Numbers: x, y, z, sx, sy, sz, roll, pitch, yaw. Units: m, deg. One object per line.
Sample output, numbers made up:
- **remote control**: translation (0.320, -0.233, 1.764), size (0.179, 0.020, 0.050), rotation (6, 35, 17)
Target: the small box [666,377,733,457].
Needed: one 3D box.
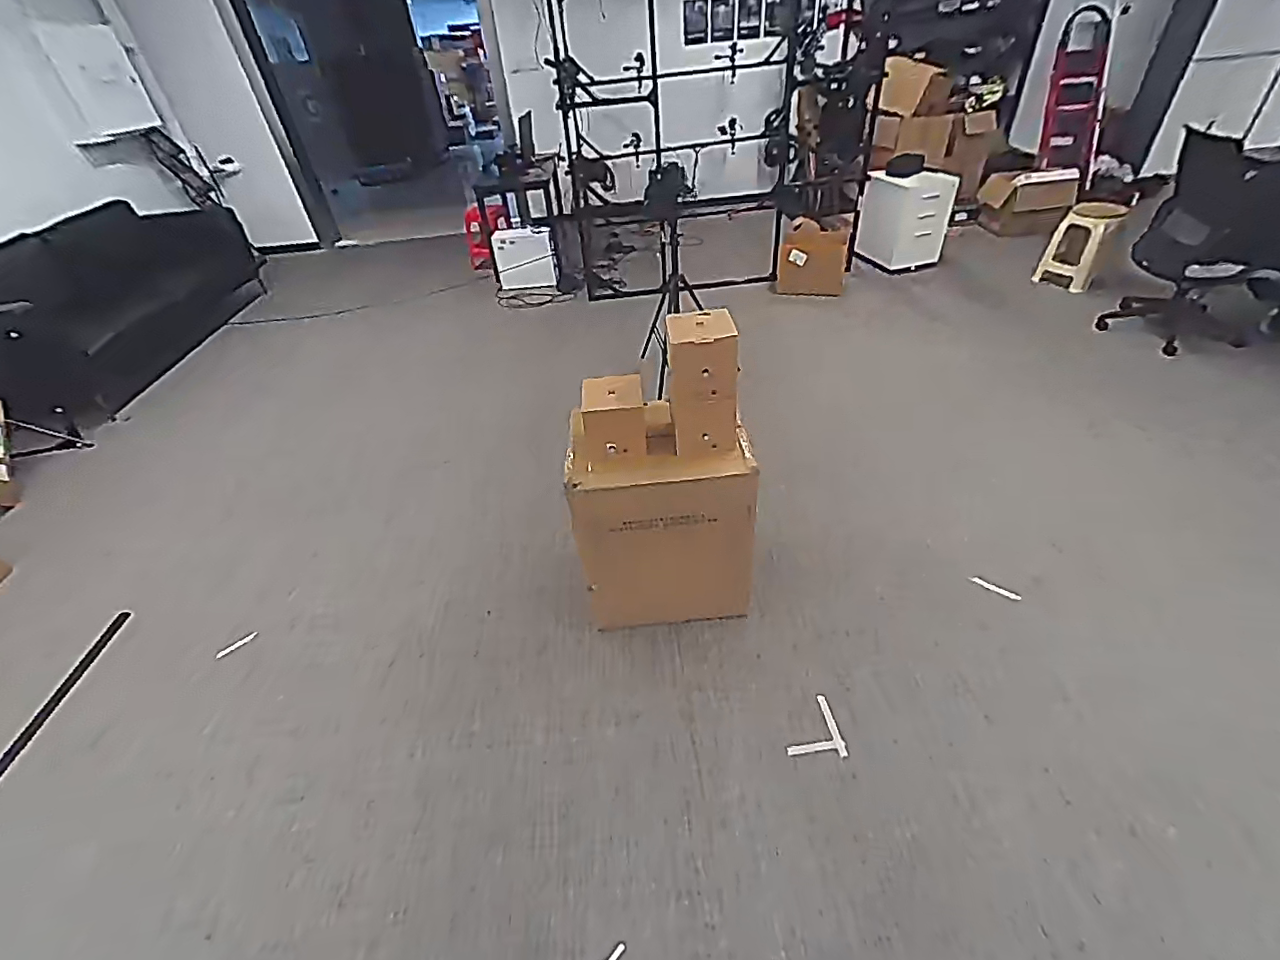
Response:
- **small box**: translation (0.163, -0.185, 1.514), size (0.168, 0.176, 0.179), rotation (-7, 40, 1)

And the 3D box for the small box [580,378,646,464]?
- **small box**: translation (-0.075, -0.166, 1.525), size (0.168, 0.176, 0.179), rotation (-7, 40, 0)

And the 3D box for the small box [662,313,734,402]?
- **small box**: translation (0.151, -0.314, 1.413), size (0.168, 0.176, 0.179), rotation (-6, 40, 2)
